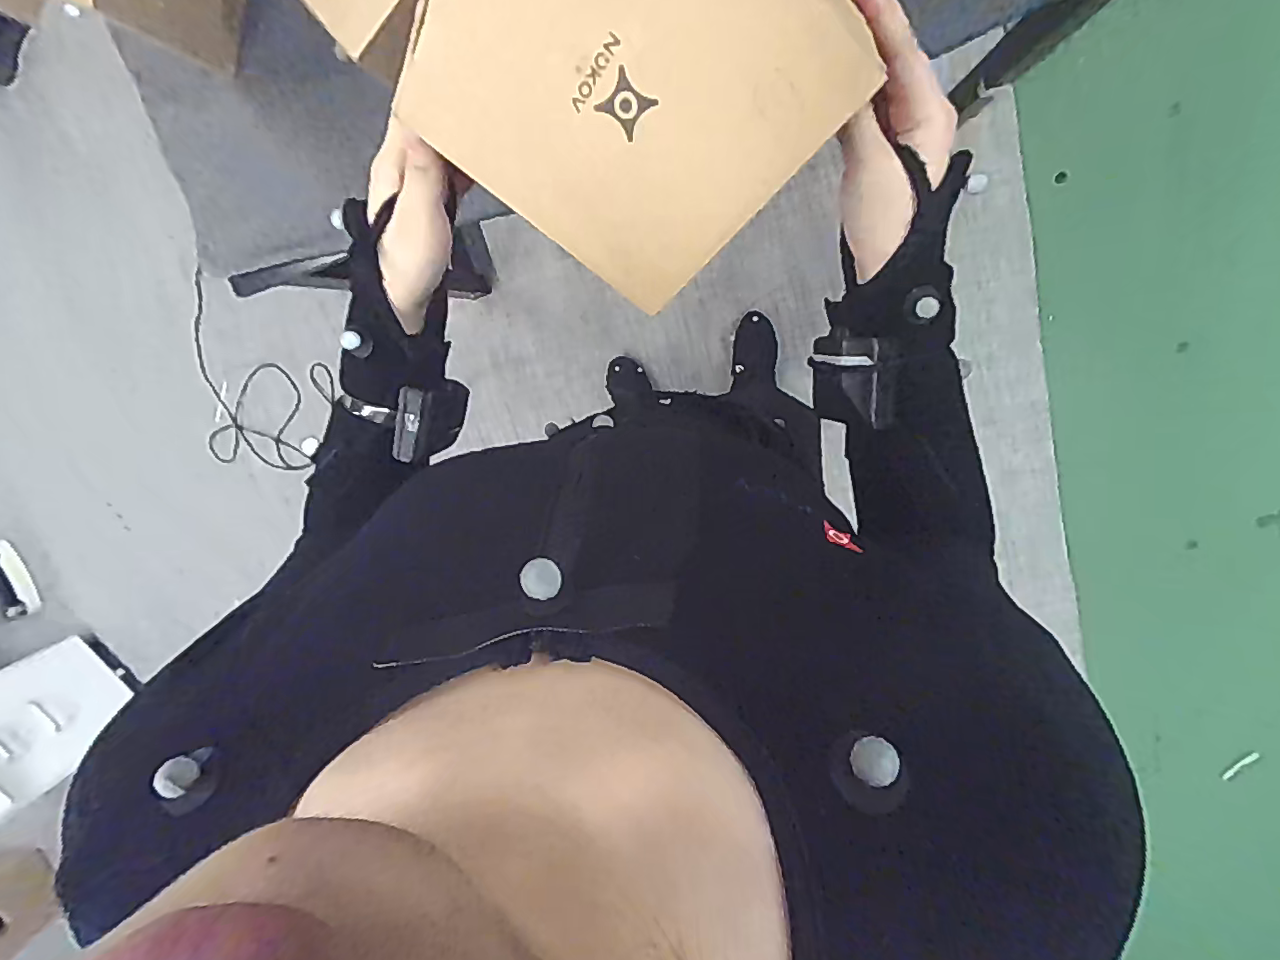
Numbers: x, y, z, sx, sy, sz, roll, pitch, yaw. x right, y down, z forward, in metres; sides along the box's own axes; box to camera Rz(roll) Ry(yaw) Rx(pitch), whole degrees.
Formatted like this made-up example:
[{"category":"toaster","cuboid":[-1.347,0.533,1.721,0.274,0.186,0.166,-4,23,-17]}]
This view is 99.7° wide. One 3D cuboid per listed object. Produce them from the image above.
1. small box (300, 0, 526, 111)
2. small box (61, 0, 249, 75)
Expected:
[{"category":"small box","cuboid":[-0.246,-0.519,0.549,0.168,0.176,0.179,-39,97,16]},{"category":"small box","cuboid":[-0.567,-0.585,0.582,0.179,0.176,0.168,25,109,0]}]
